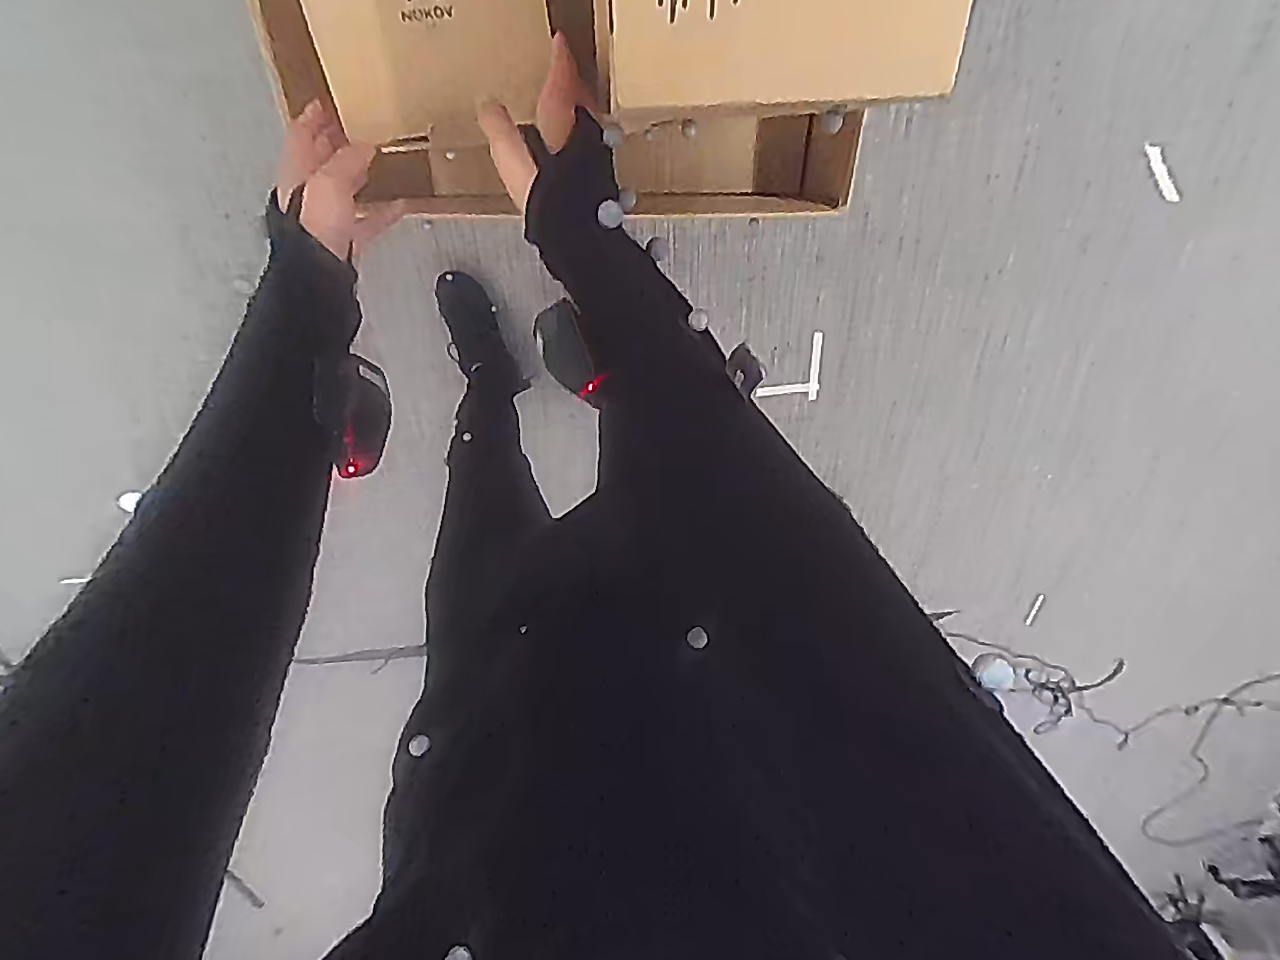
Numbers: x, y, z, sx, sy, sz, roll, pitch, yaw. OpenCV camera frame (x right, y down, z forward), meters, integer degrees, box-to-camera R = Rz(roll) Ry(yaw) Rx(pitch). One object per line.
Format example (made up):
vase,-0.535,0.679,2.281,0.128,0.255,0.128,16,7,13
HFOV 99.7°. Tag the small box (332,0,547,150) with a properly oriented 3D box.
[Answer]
small box,-0.198,-0.456,0.568,0.168,0.176,0.179,-7,122,0
